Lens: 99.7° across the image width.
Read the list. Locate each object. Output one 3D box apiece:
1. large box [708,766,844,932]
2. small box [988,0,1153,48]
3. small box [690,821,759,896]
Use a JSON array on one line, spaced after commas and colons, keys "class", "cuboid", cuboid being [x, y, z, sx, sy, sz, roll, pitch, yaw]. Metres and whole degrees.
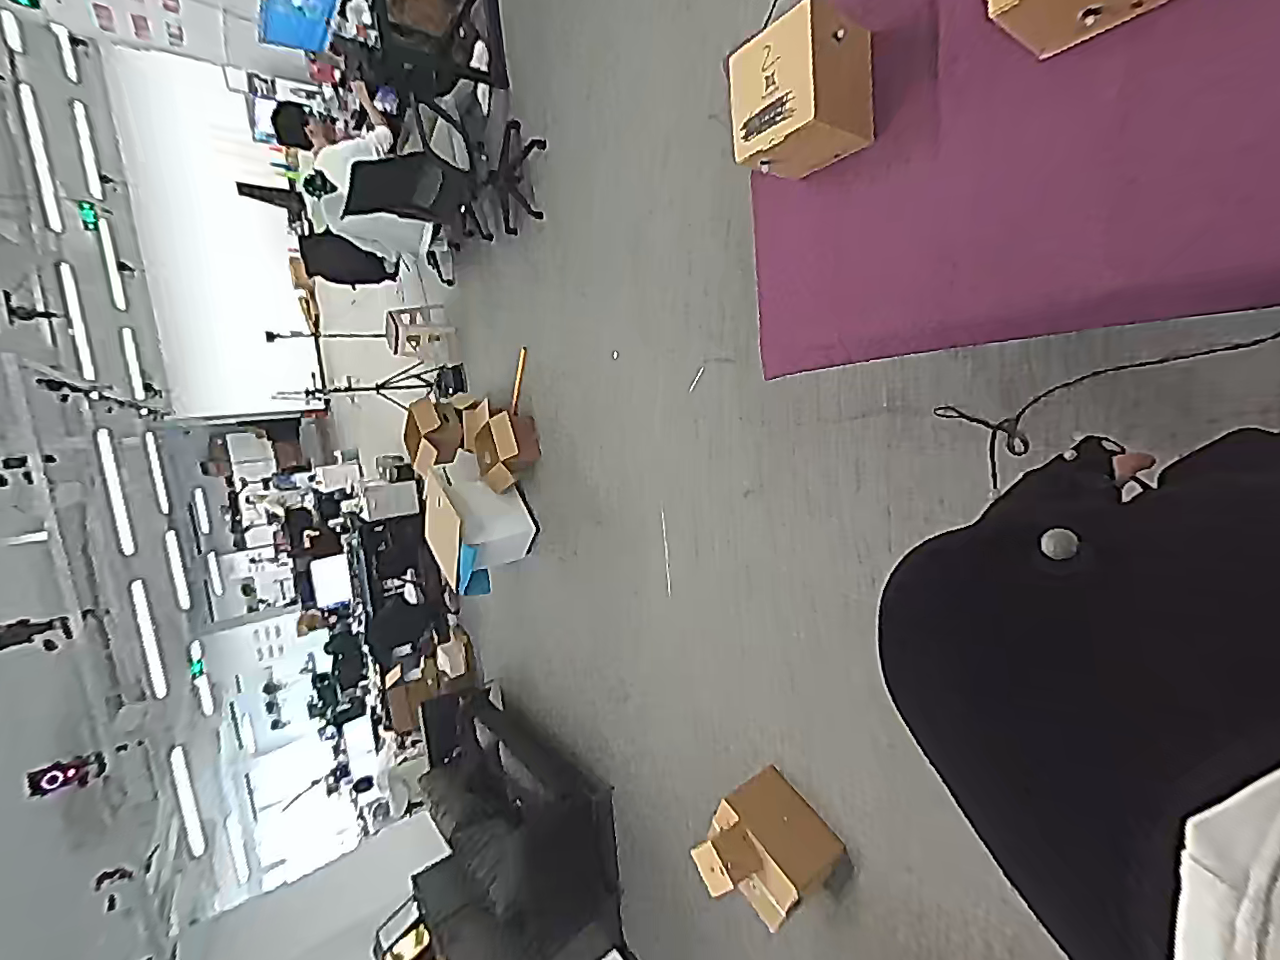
[{"class": "large box", "cuboid": [0.547, 1.498, 2.231, 0.408, 0.320, 0.320, 37, 127, 41]}, {"class": "small box", "cuboid": [0.511, -0.639, 0.601, 0.168, 0.176, 0.179, 5, 104, 52]}, {"class": "small box", "cuboid": [0.329, 1.468, 2.098, 0.168, 0.176, 0.179, 56, 137, 28]}]
